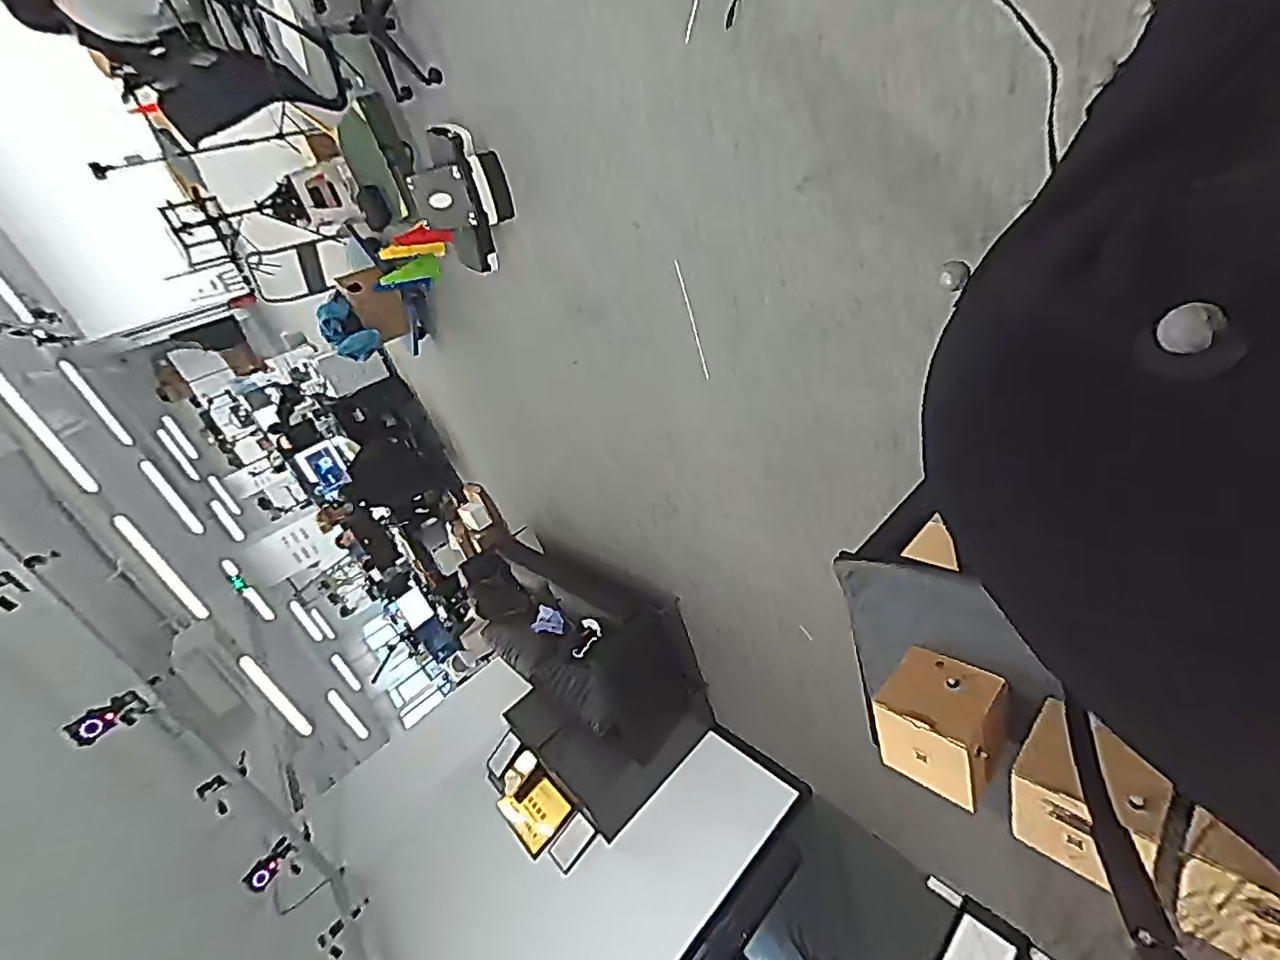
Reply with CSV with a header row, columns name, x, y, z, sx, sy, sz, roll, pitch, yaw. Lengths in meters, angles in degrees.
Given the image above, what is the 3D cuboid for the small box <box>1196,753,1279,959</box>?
name,x,y,z,sx,sy,sz,roll,pitch,yaw
small box,0.836,0.489,0.676,0.168,0.176,0.179,12,131,53

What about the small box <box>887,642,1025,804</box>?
name,x,y,z,sx,sy,sz,roll,pitch,yaw
small box,0.590,0.440,1.003,0.168,0.176,0.179,13,131,51
